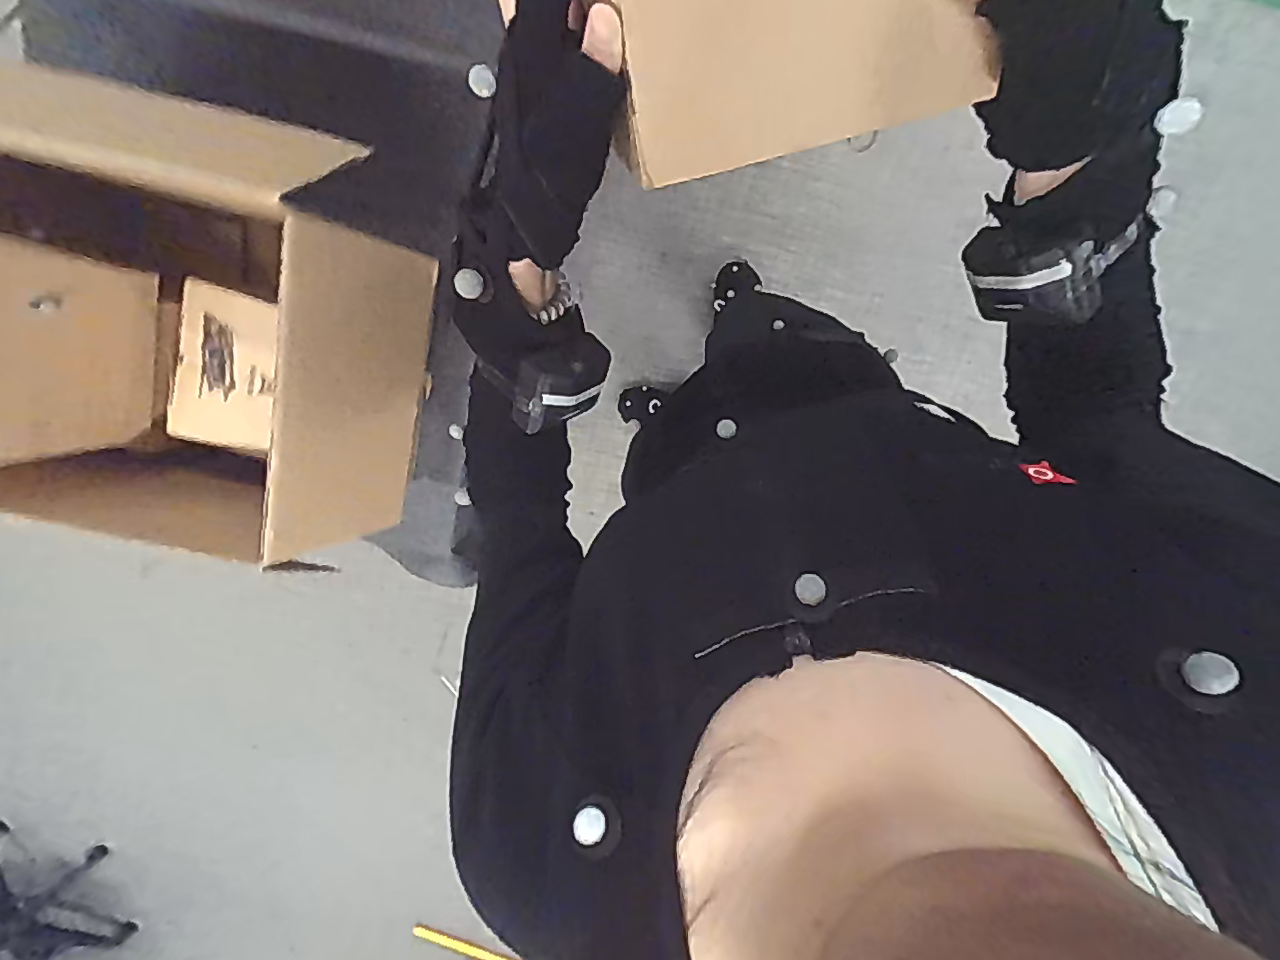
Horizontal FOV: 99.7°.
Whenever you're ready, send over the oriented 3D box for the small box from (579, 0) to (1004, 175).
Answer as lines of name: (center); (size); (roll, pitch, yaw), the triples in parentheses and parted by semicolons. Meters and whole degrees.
small box: (0.060, -0.277, 0.274); (0.179, 0.176, 0.168); (-14, 129, -2)
